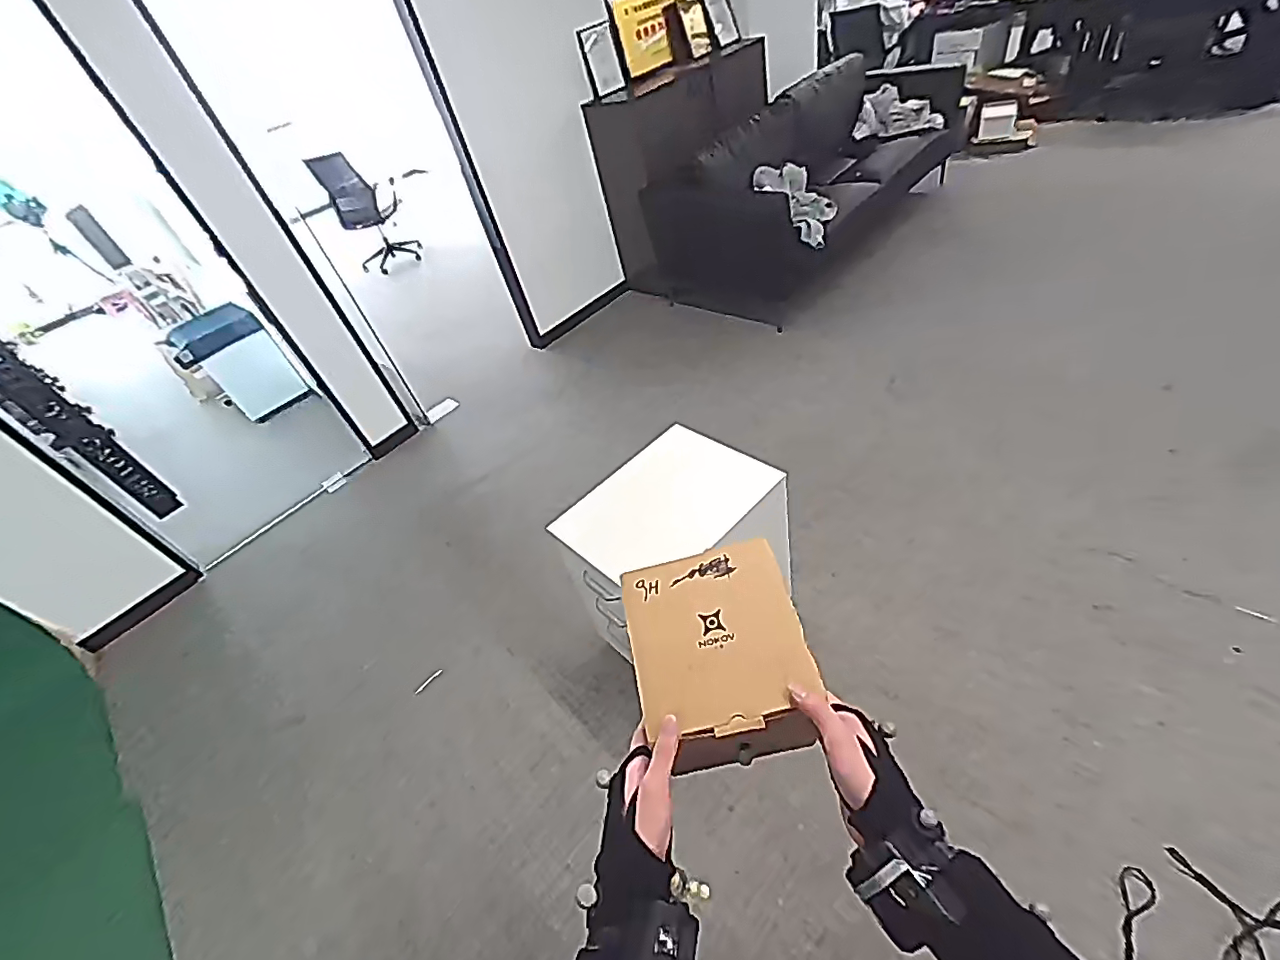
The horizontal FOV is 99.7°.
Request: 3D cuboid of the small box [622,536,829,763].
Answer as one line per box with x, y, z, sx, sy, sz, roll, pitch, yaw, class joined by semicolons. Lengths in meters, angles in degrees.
0.092;0.195;0.595;0.168;0.176;0.179;-17;51;1;small box
